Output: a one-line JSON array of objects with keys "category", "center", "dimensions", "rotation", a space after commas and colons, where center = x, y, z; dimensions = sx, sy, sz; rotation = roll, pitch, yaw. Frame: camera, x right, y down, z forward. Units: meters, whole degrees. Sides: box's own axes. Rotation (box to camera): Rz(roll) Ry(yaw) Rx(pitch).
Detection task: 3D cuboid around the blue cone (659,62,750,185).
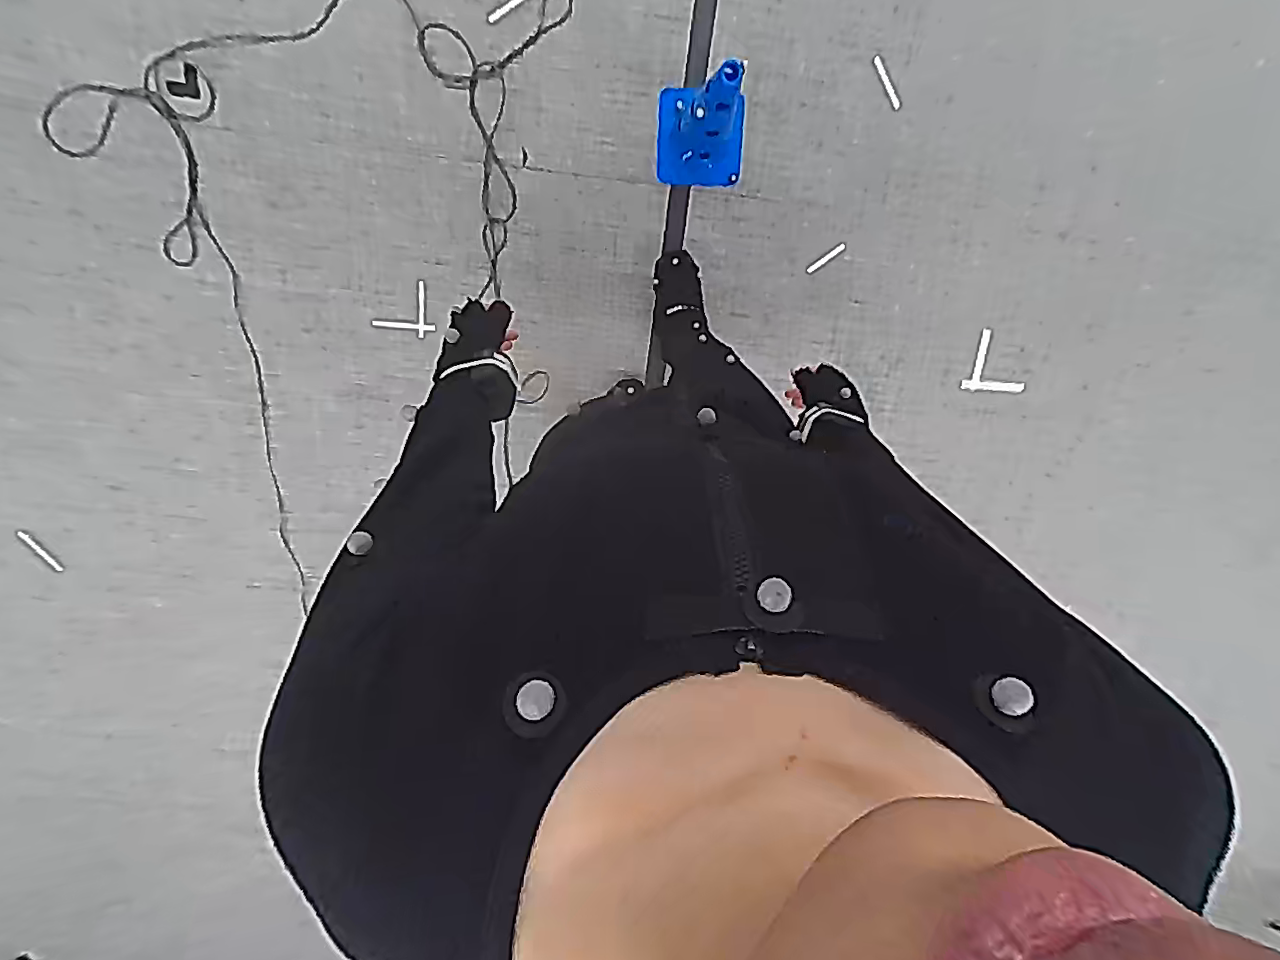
[{"category": "blue cone", "center": [0.152, -0.755, 1.112], "dimensions": [0.192, 0.380, 0.193], "rotation": [2, 106, -5]}]
